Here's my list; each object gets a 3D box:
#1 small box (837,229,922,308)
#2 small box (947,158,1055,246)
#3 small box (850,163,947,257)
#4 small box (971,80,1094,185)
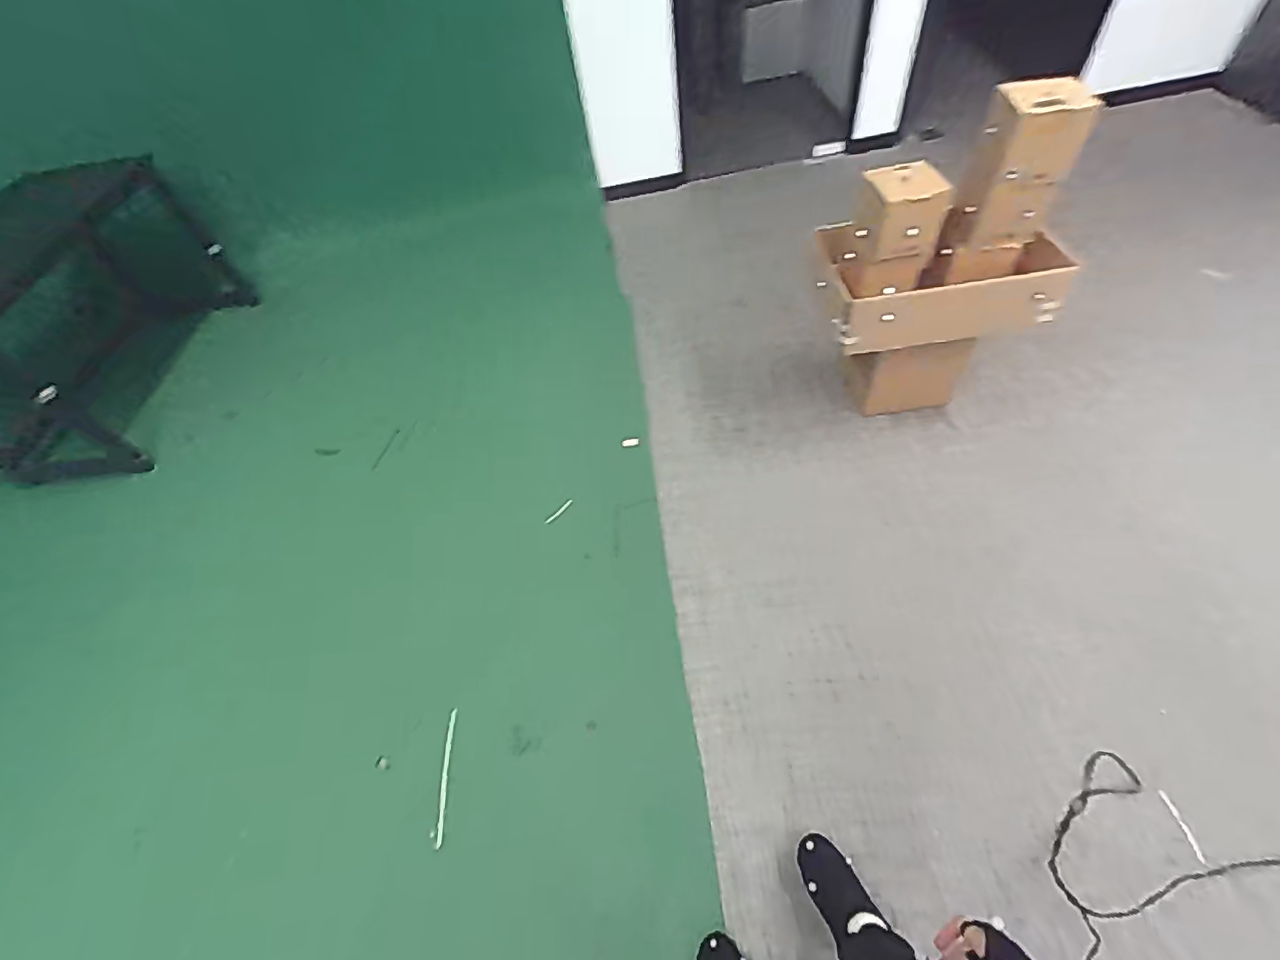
[{"bbox_3d":[0.708,-0.644,1.621,0.168,0.176,0.179,-11,53,1],"label":"small box"},{"bbox_3d":[0.964,-0.753,1.462,0.168,0.176,0.179,-3,54,5],"label":"small box"},{"bbox_3d":[0.698,-0.731,1.482,0.168,0.176,0.179,-10,54,0],"label":"small box"},{"bbox_3d":[0.950,-0.847,1.329,0.168,0.176,0.179,0,53,7],"label":"small box"}]
